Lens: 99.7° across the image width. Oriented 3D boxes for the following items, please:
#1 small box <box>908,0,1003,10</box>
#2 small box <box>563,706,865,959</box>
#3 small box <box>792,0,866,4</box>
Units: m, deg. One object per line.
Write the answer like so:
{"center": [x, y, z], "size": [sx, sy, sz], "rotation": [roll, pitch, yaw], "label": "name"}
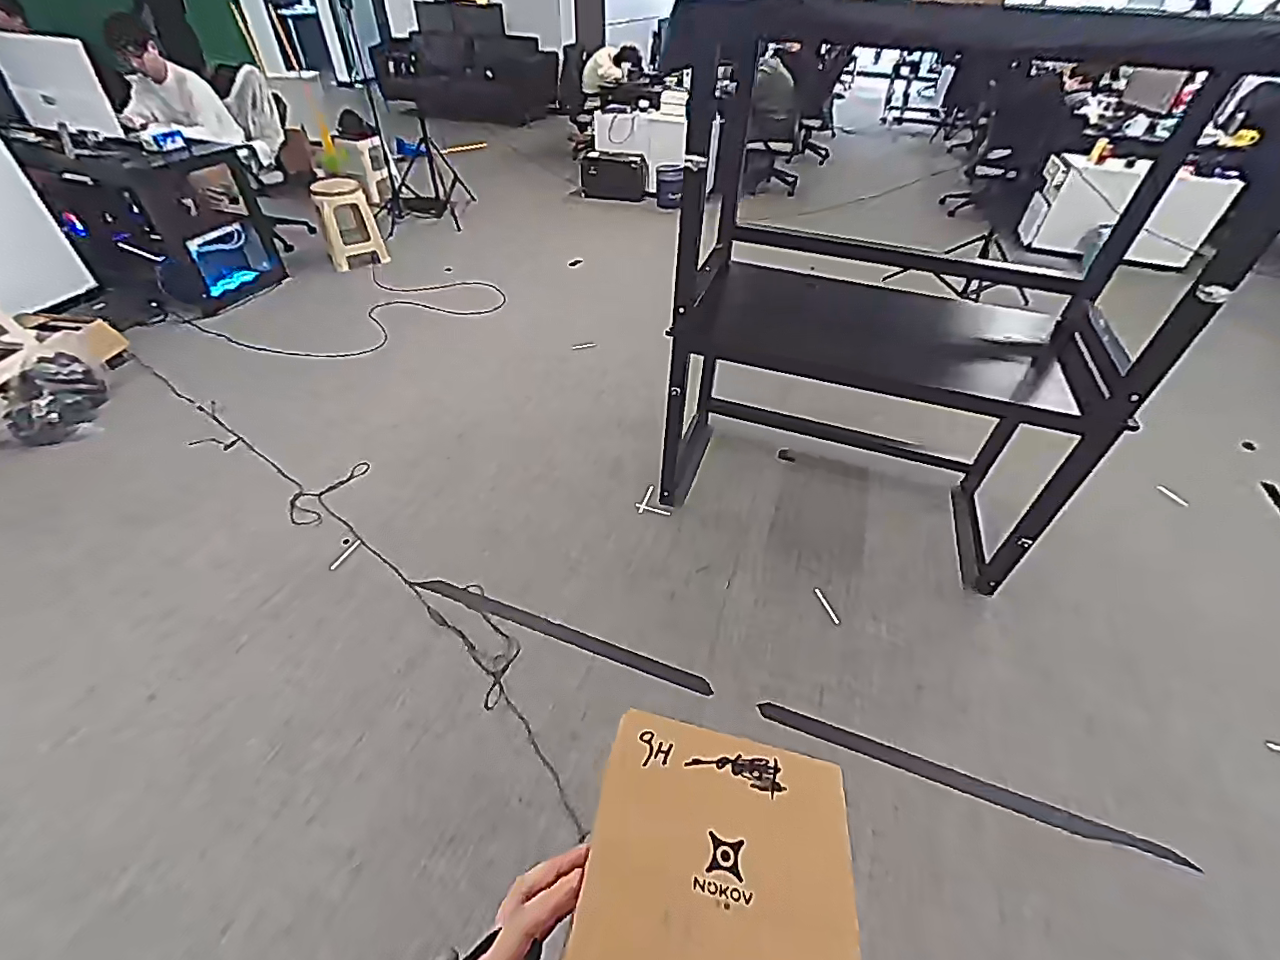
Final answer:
{"center": [0.614, -0.990, 1.007], "size": [0.168, 0.176, 0.179], "rotation": [16, 42, 14], "label": "small box"}
{"center": [0.042, 0.299, 0.380], "size": [0.168, 0.176, 0.179], "rotation": [15, 39, 3], "label": "small box"}
{"center": [0.377, -1.035, 1.045], "size": [0.168, 0.176, 0.179], "rotation": [16, 42, 12], "label": "small box"}
